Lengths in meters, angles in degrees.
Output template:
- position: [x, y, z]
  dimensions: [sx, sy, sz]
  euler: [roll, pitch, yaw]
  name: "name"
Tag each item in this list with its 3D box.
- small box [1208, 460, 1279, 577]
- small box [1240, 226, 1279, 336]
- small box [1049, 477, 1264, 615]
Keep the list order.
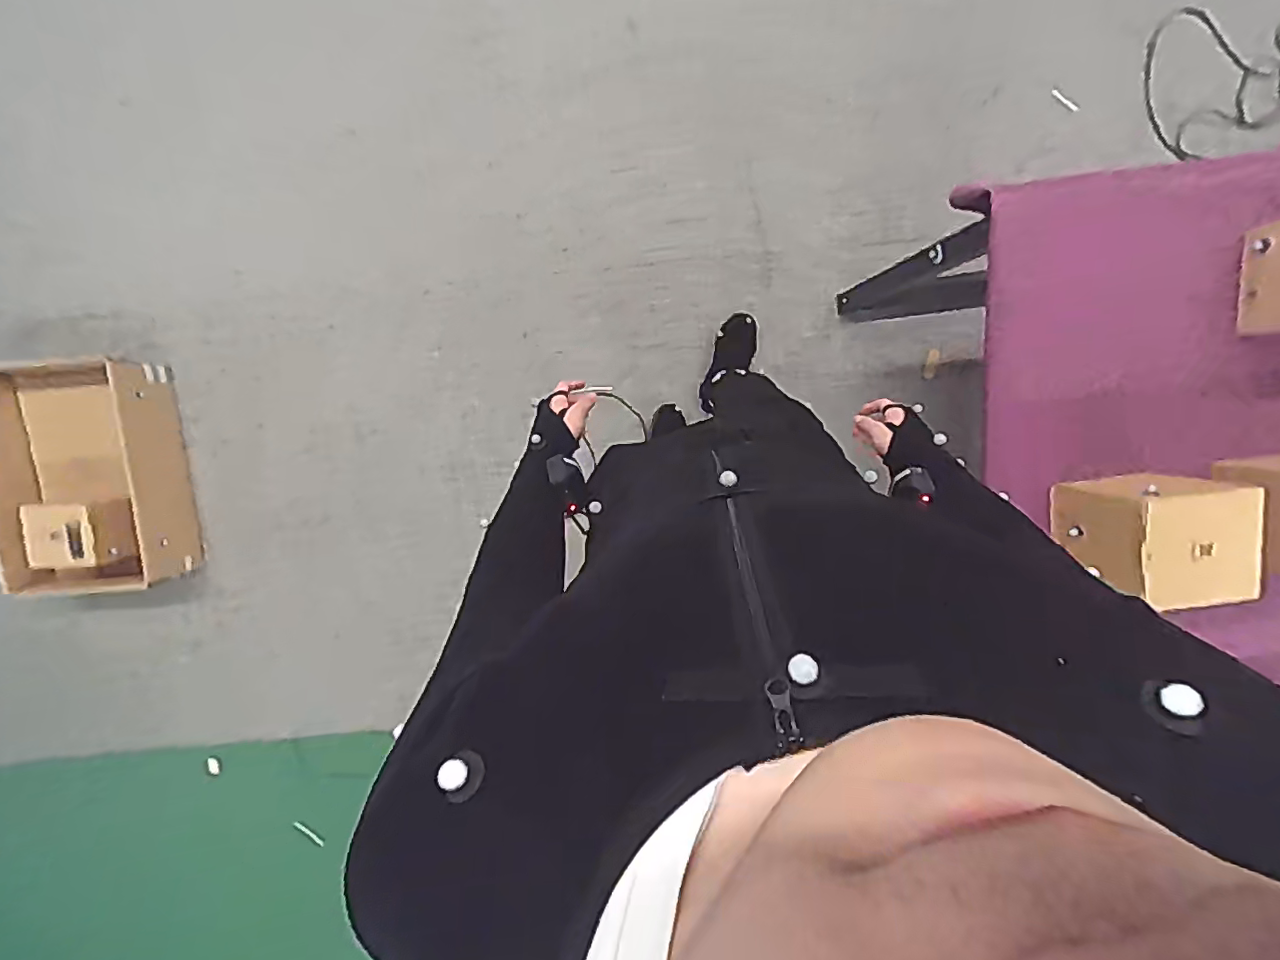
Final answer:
- position: [1.055, 0.058, 0.845]
  dimensions: [0.179, 0.176, 0.168]
  euler: [-5, 97, 0]
  name: "small box"
- position: [1.055, -0.307, 0.792]
  dimensions: [0.179, 0.176, 0.168]
  euler: [-3, 98, 0]
  name: "small box"
- position: [0.789, 0.093, 0.843]
  dimensions: [0.179, 0.176, 0.168]
  euler: [-7, 98, -1]
  name: "small box"
